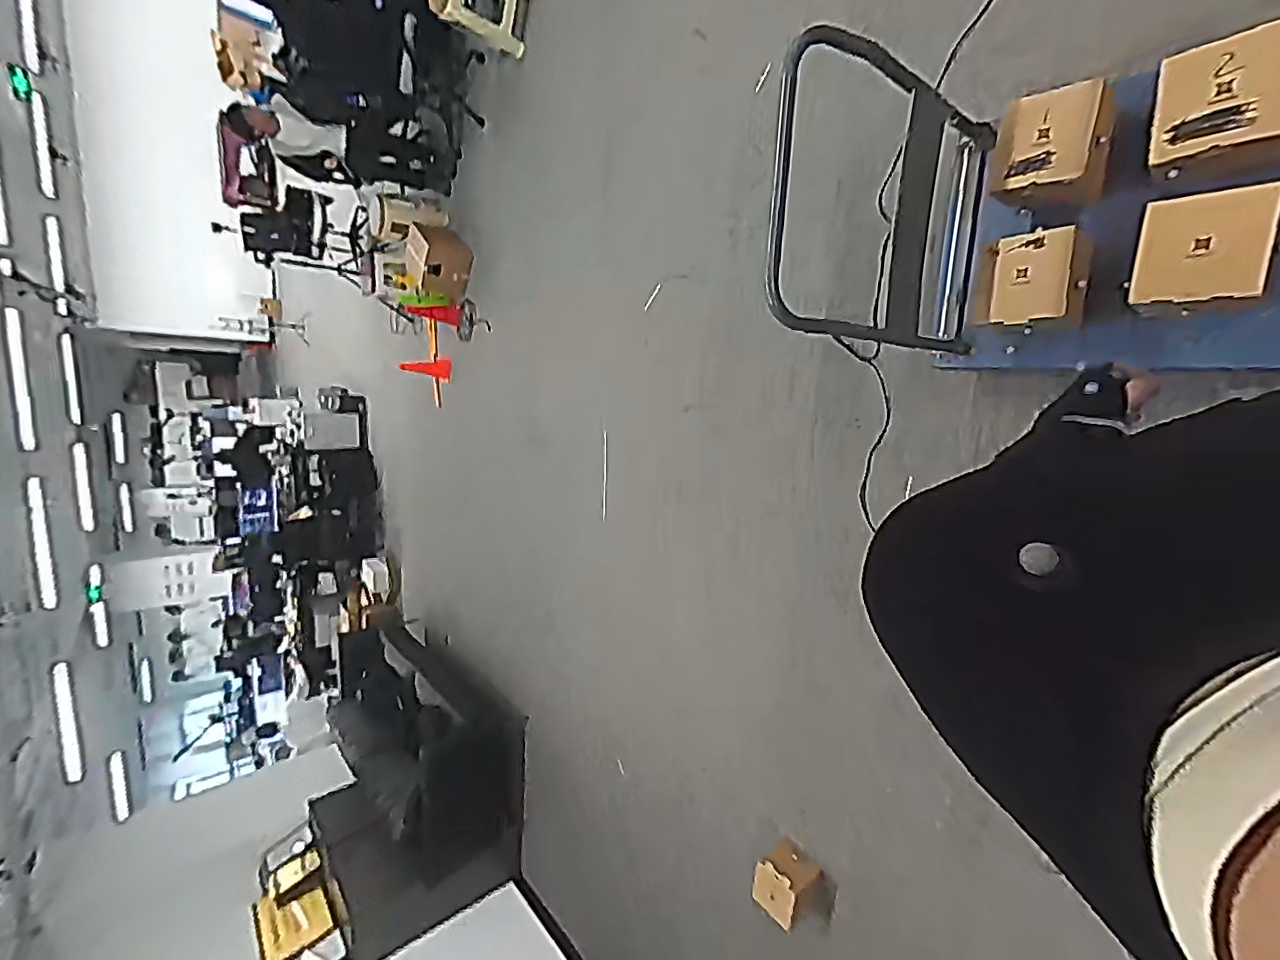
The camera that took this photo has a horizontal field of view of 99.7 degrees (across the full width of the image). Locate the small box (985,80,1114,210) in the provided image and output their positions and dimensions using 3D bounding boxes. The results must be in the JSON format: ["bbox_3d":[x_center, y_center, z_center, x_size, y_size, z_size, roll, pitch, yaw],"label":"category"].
[{"bbox_3d":[0.853,-0.679,1.125,0.168,0.176,0.179,17,106,47],"label":"small box"}]

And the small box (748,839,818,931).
[{"bbox_3d":[0.532,1.488,1.997,0.168,0.176,0.179,27,113,42],"label":"small box"}]

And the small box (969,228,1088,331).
[{"bbox_3d":[0.839,-0.420,1.167,0.168,0.176,0.179,10,102,48],"label":"small box"}]
